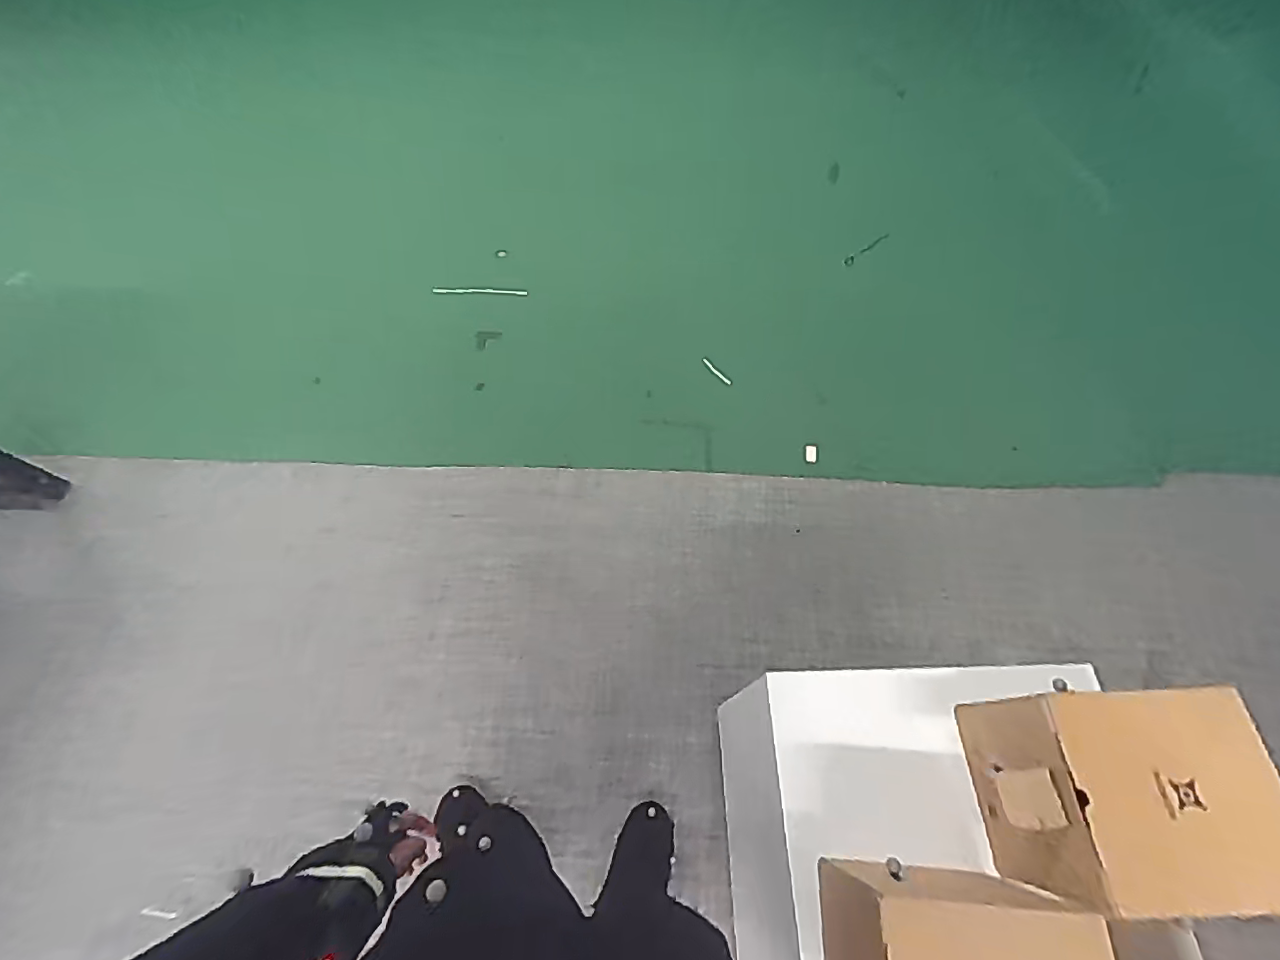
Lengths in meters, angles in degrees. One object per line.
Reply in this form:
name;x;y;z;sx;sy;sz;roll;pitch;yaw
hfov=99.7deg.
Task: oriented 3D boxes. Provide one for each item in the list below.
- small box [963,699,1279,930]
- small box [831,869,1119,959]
small box;0.458;0.306;0.522;0.179;0.176;0.168;-3;63;2
small box;0.269;0.444;0.453;0.179;0.176;0.168;4;64;3
